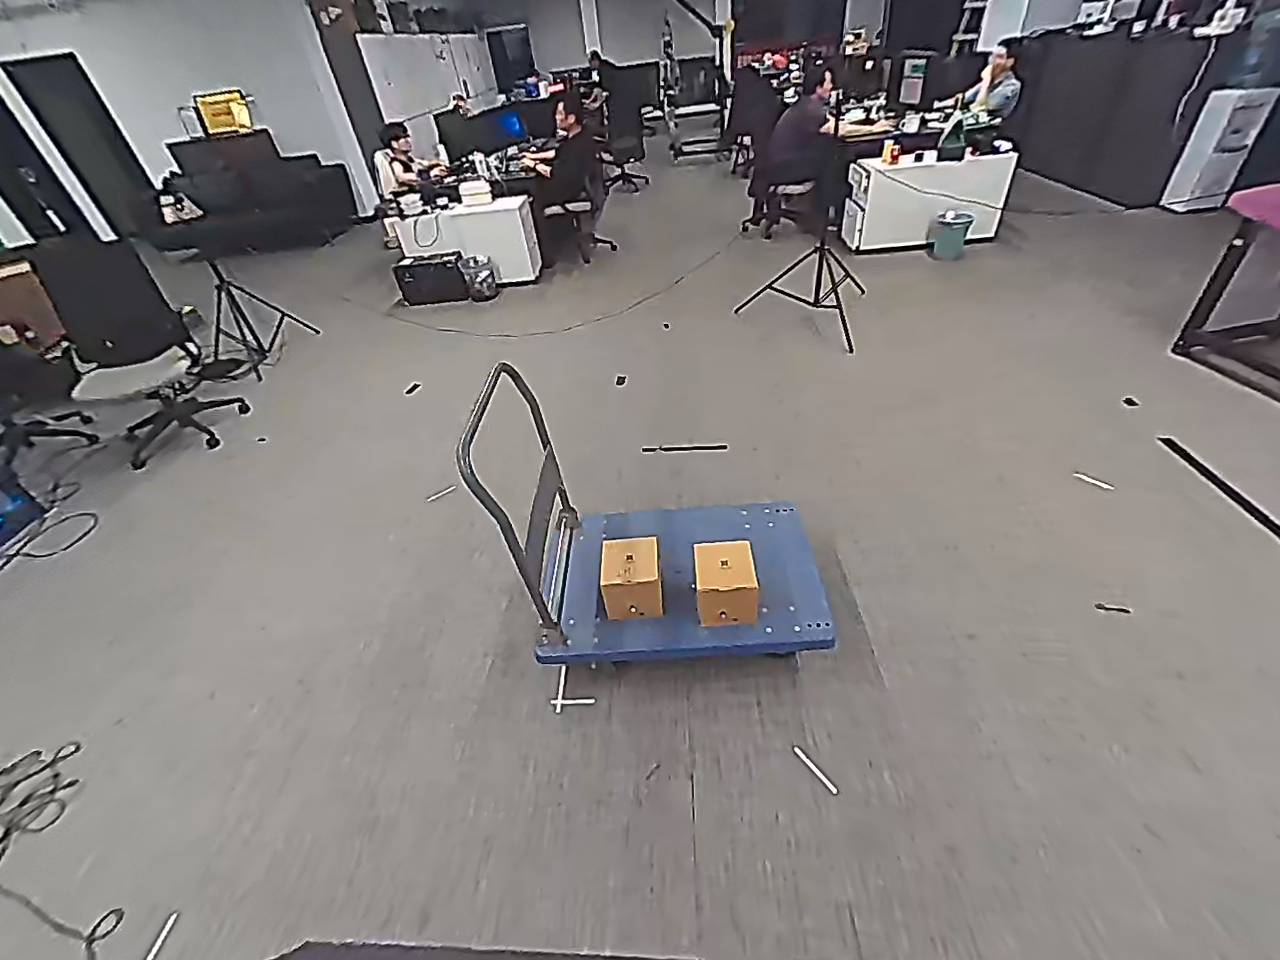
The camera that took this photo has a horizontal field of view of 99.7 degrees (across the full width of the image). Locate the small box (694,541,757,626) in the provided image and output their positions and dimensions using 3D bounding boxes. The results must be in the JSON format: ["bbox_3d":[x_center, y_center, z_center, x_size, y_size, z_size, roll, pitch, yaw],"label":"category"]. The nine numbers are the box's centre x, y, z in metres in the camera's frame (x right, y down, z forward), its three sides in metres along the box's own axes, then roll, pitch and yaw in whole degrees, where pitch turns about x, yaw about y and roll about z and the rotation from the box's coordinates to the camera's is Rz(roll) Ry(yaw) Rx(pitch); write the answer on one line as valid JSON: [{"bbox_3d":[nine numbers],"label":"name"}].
[{"bbox_3d":[0.245,0.302,1.578,0.168,0.176,0.179,-5,39,4],"label":"small box"}]

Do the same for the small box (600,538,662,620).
[{"bbox_3d":[-0.024,0.297,1.628,0.168,0.176,0.179,-5,40,4],"label":"small box"}]
